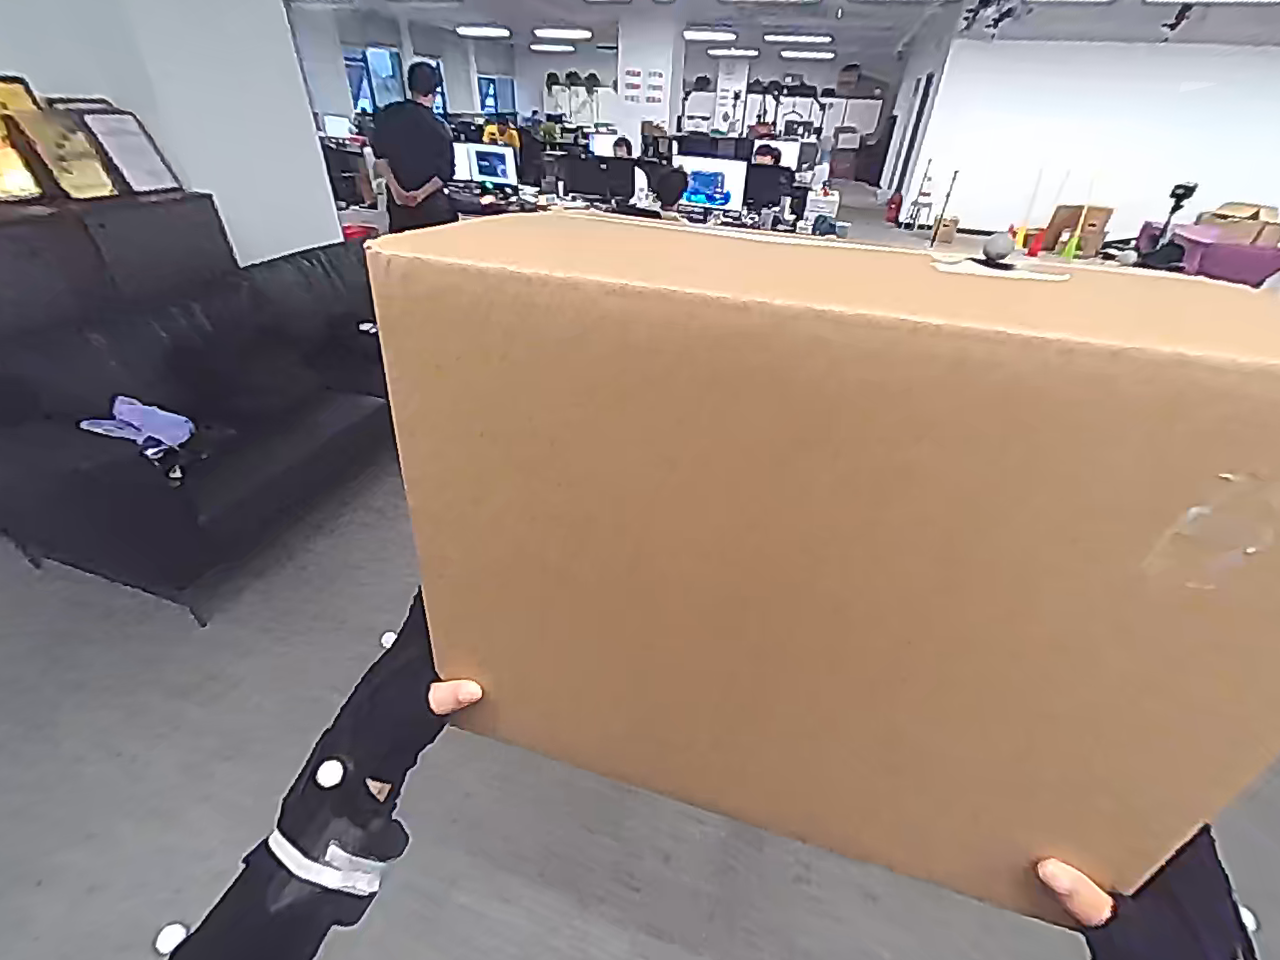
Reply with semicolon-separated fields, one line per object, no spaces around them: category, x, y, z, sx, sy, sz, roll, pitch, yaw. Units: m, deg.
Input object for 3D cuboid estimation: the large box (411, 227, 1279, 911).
large box;0.111;0.011;0.395;0.408;0.320;0.320;12;30;11
